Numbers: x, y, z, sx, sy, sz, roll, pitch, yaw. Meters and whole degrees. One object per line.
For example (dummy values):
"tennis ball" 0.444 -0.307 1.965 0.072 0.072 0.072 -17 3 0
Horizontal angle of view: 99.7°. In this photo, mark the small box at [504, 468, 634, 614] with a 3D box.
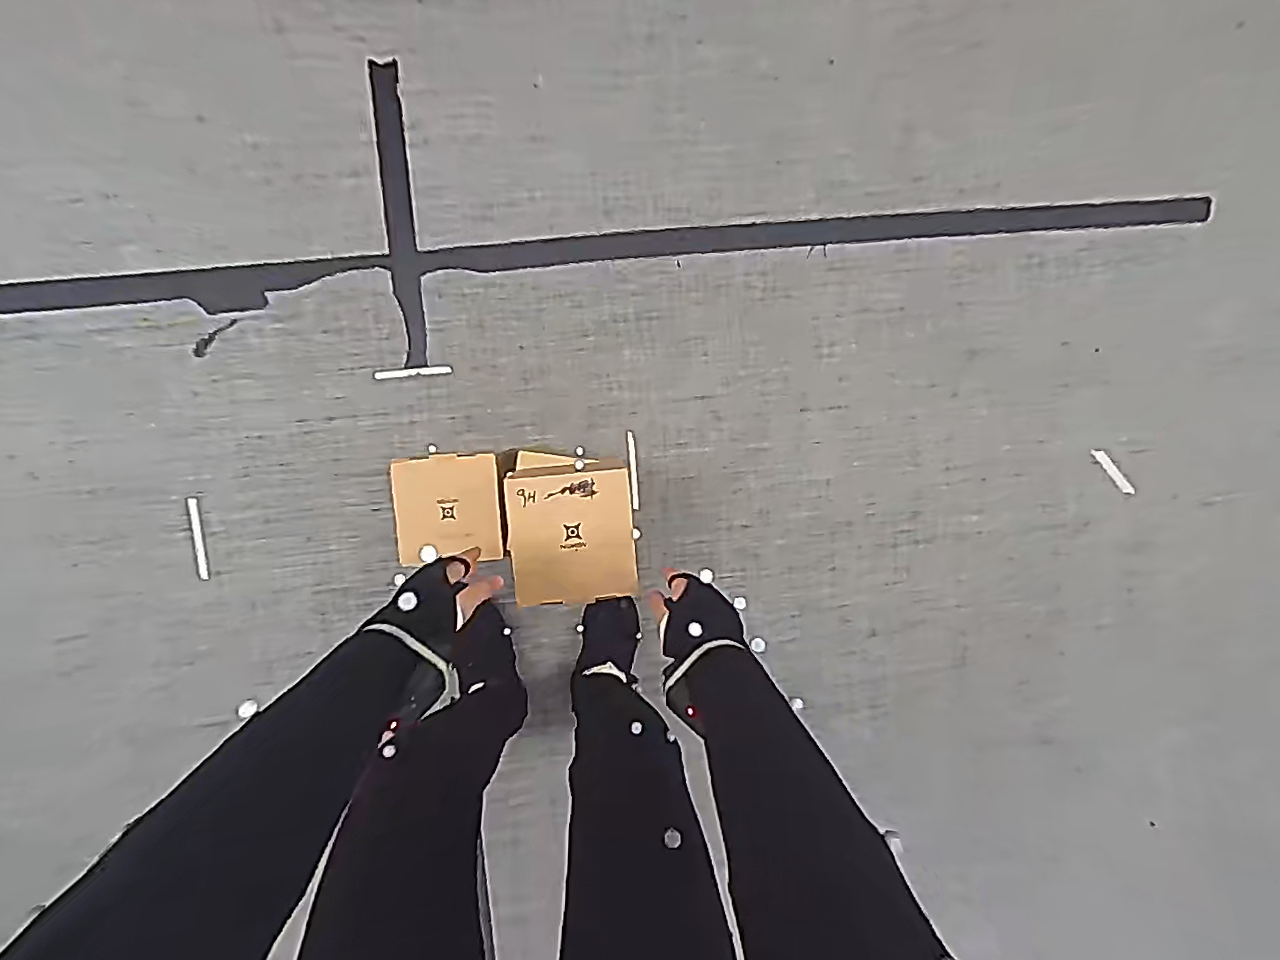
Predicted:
"small box" -0.099 0.081 0.804 0.168 0.176 0.179 -5 96 -5
